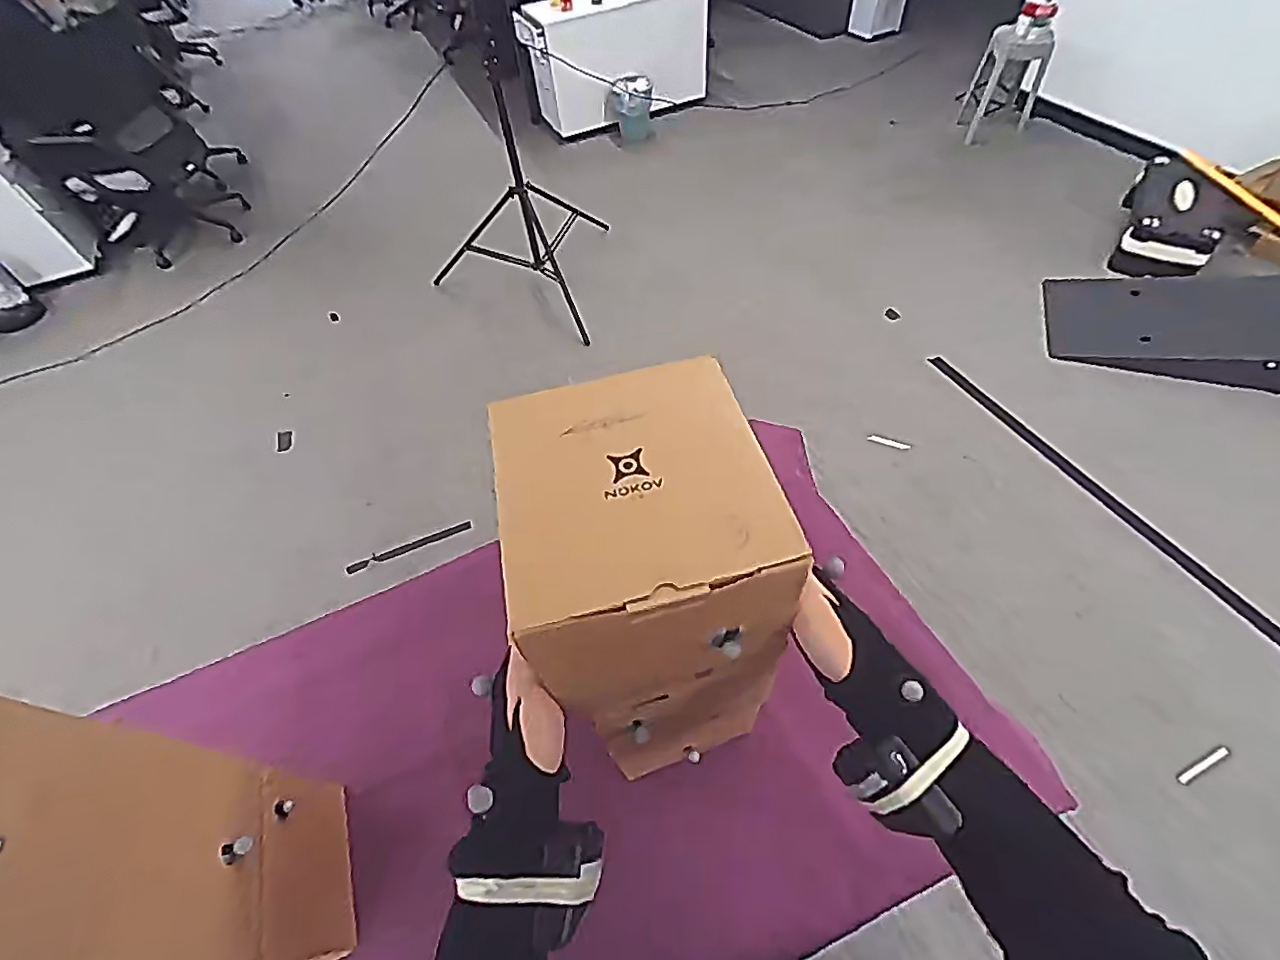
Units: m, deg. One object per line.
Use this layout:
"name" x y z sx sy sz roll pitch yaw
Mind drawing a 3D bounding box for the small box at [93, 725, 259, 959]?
"small box" -0.437 0.331 0.428 0.168 0.176 0.179 -23 55 -11

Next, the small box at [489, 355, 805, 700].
"small box" -0.001 0.042 0.393 0.168 0.176 0.179 -13 52 -5

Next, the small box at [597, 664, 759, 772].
"small box" 0.026 0.229 0.662 0.168 0.176 0.179 -19 55 -7

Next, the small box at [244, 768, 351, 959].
"small box" -0.423 0.431 0.557 0.168 0.176 0.179 -22 55 -11
